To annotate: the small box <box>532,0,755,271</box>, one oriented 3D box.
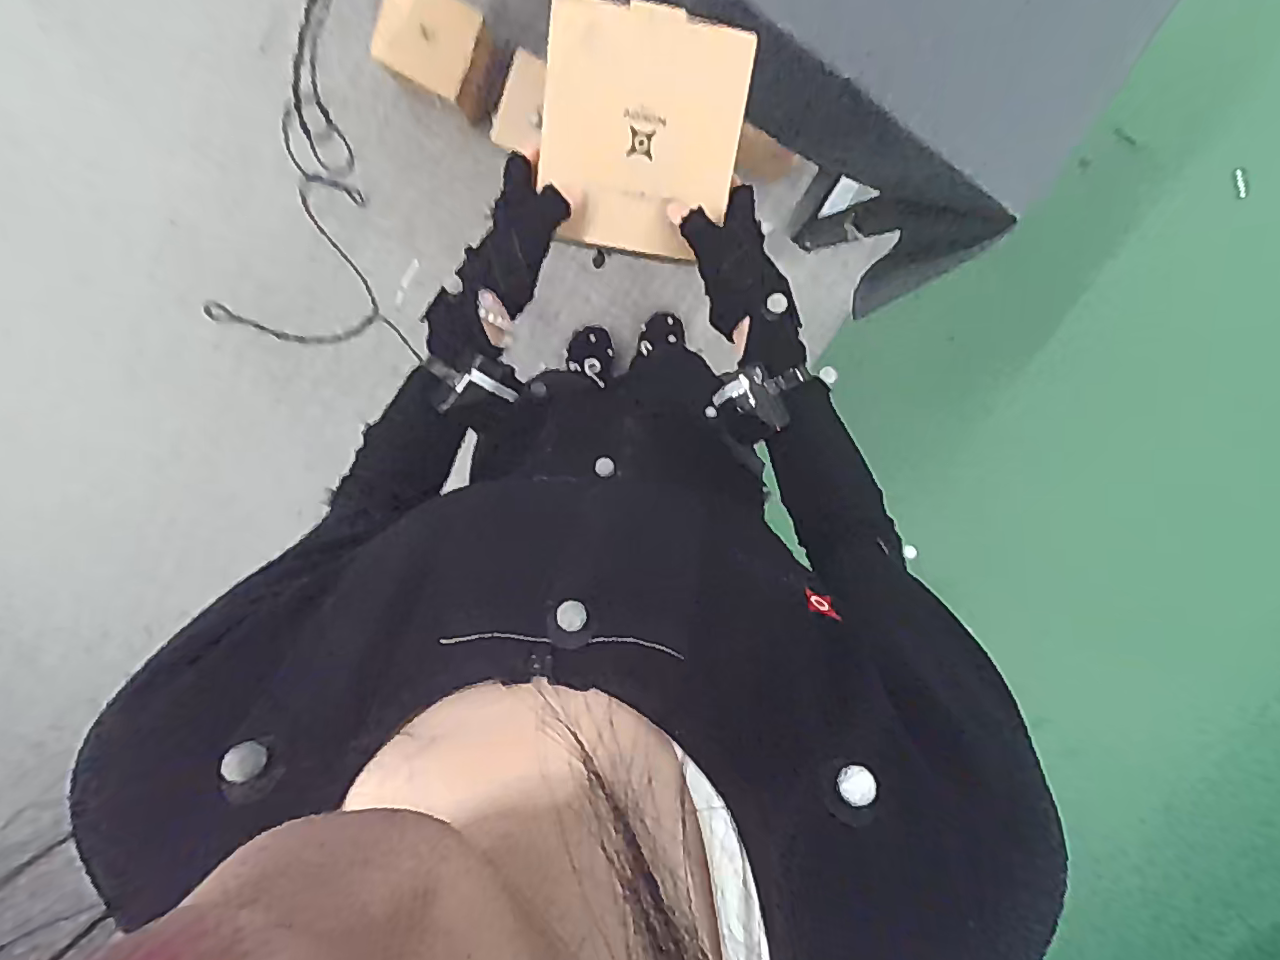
[{"bbox_3d":[-0.009,-0.308,0.523,0.168,0.176,0.179,7,110,-9],"label":"small box"}]
